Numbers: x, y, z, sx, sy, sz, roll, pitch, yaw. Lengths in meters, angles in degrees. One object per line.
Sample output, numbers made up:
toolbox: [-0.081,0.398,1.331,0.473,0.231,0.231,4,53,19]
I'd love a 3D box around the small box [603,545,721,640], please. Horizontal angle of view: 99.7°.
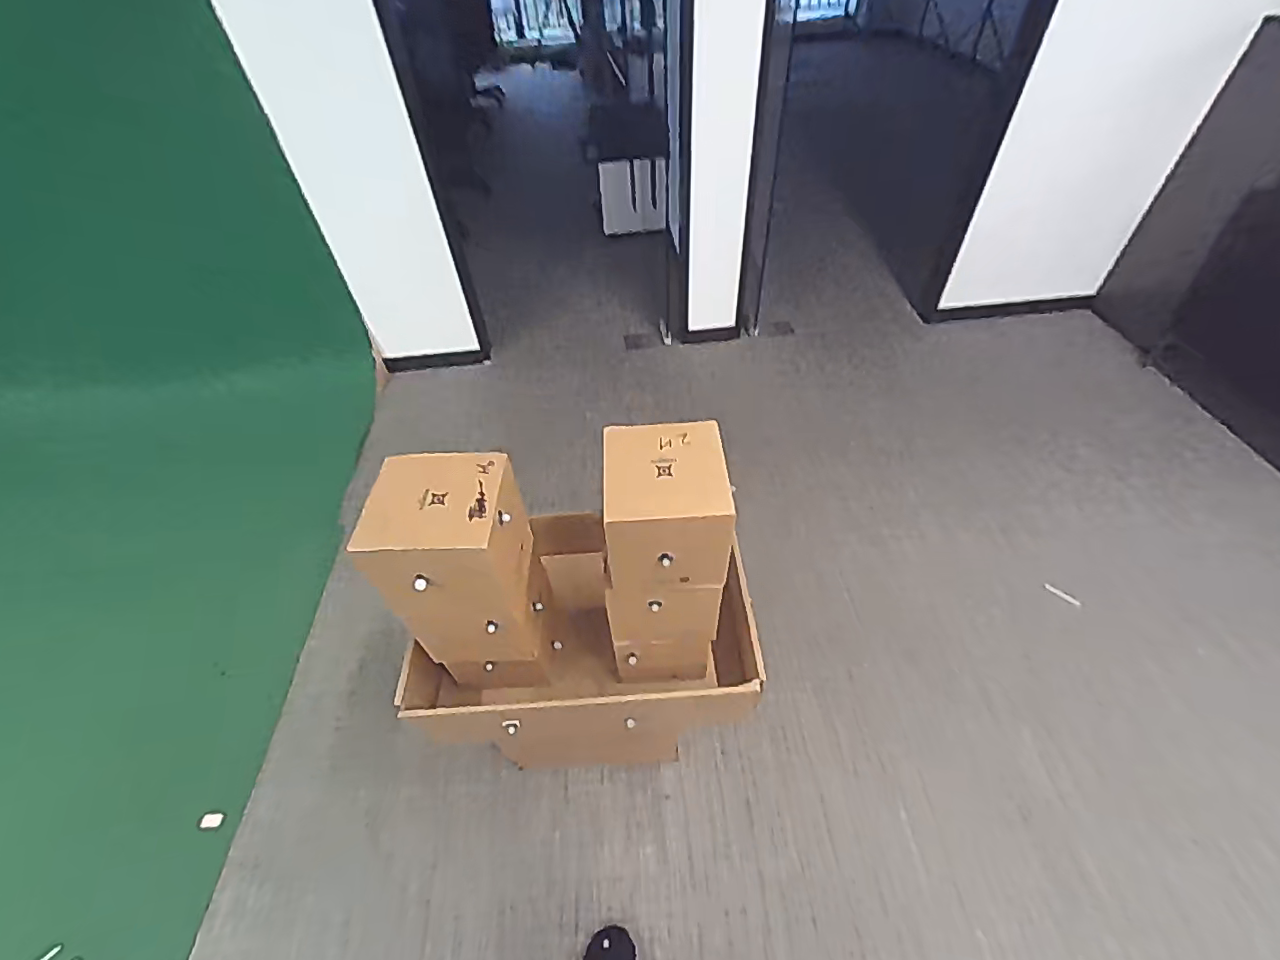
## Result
small box: [0.037,0.155,0.899,0.179,0.176,0.168,-1,48,1]

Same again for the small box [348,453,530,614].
small box: [-0.268,0.080,0.769,0.179,0.176,0.168,-2,49,2]

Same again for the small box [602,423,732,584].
small box: [0.036,0.040,0.781,0.168,0.176,0.179,-3,47,0]

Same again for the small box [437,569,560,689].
small box: [-0.256,0.285,1.024,0.179,0.176,0.168,-2,48,0]
